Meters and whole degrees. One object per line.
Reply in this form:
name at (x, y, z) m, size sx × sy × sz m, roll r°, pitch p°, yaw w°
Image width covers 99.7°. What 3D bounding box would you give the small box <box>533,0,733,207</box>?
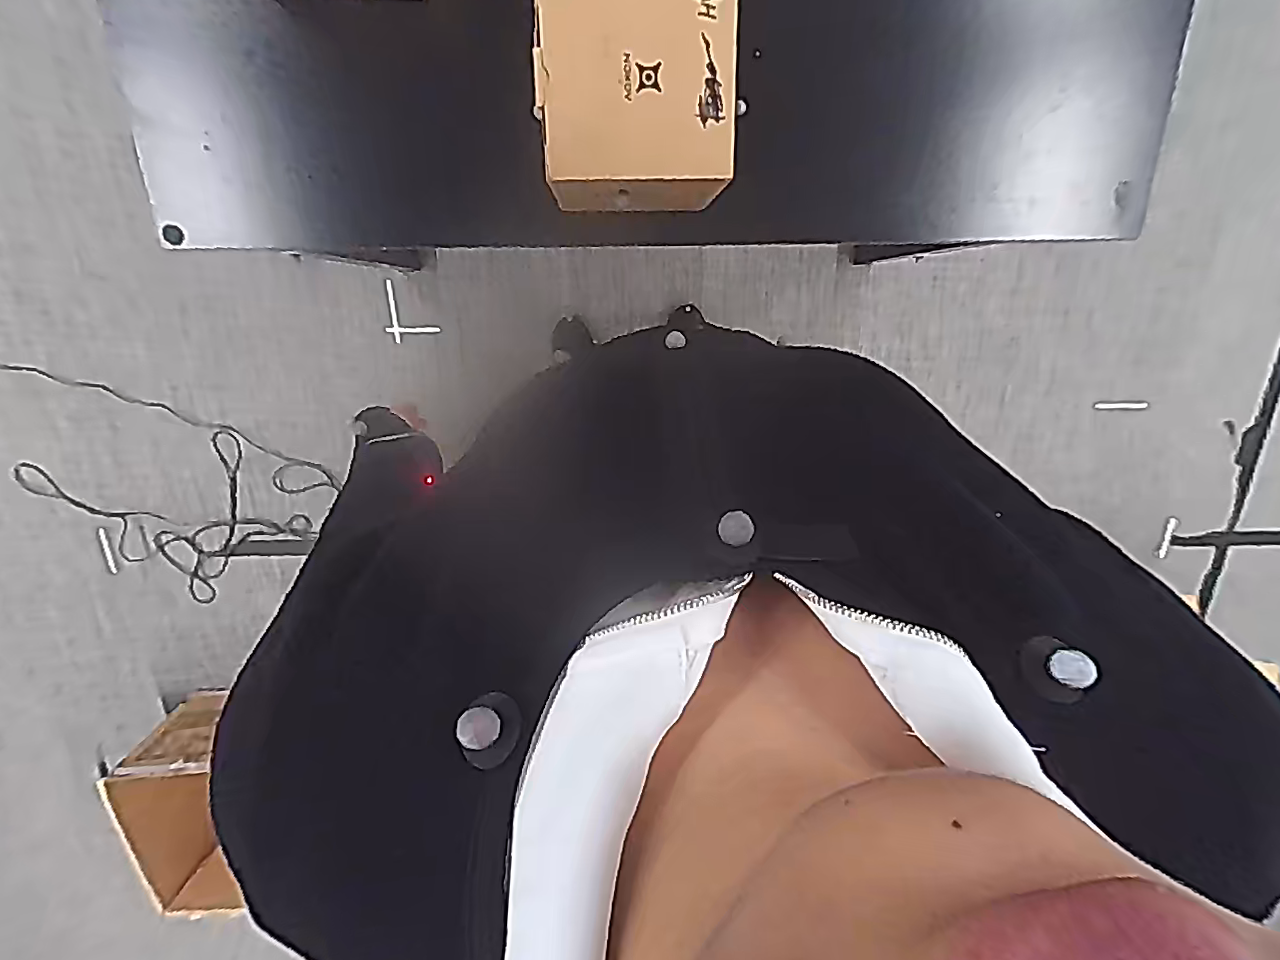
small box at (-0.007, -0.388, 0.560) m, size 0.179 × 0.176 × 0.168 m, roll -2°, pitch 108°, yaw -2°
